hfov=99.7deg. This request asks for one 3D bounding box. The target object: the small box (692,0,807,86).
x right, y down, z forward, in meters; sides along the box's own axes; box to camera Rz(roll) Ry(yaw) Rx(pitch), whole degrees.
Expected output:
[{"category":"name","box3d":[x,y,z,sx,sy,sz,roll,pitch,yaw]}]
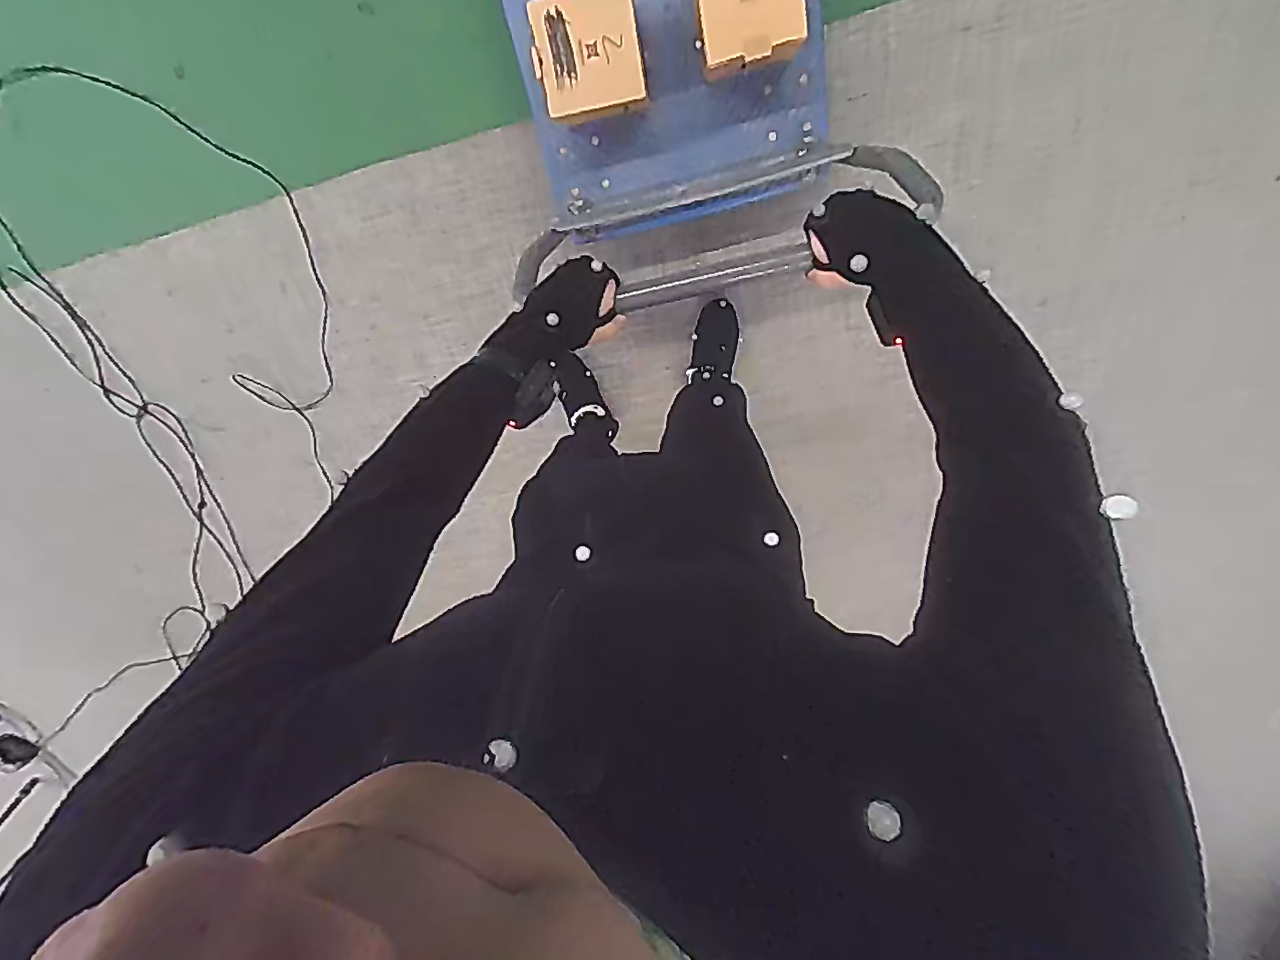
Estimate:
[{"category":"small box","box3d":[0.182,-0.815,0.934,0.168,0.176,0.179,-10,119,10]}]
